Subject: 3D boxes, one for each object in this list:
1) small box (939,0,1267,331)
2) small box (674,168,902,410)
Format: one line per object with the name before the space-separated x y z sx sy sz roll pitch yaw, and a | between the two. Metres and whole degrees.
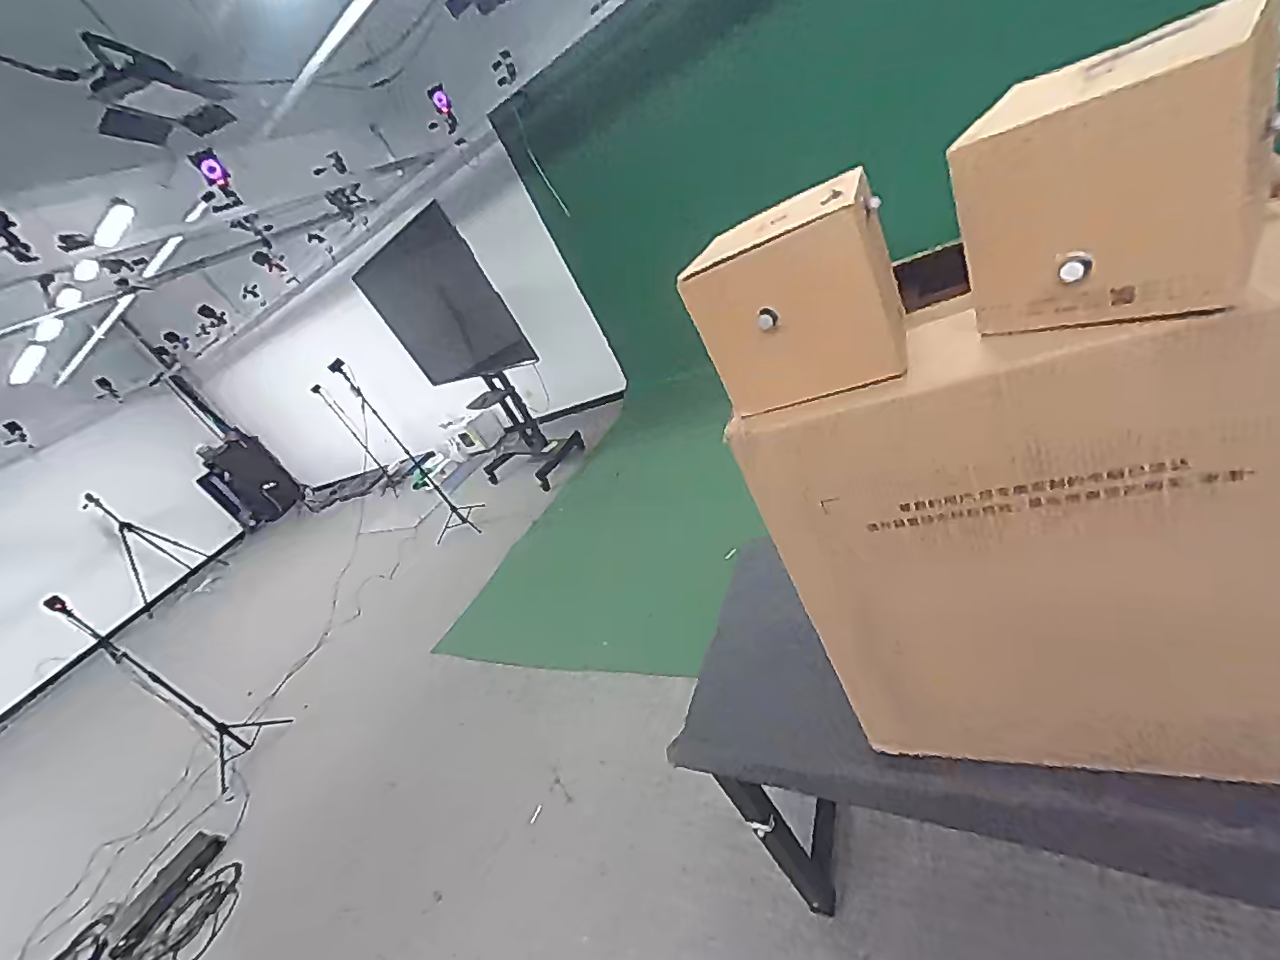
small box | 0.382 -0.246 0.450 0.179 0.176 0.168 -45 30 -26
small box | 0.169 -0.199 0.592 0.179 0.176 0.168 -14 31 34
